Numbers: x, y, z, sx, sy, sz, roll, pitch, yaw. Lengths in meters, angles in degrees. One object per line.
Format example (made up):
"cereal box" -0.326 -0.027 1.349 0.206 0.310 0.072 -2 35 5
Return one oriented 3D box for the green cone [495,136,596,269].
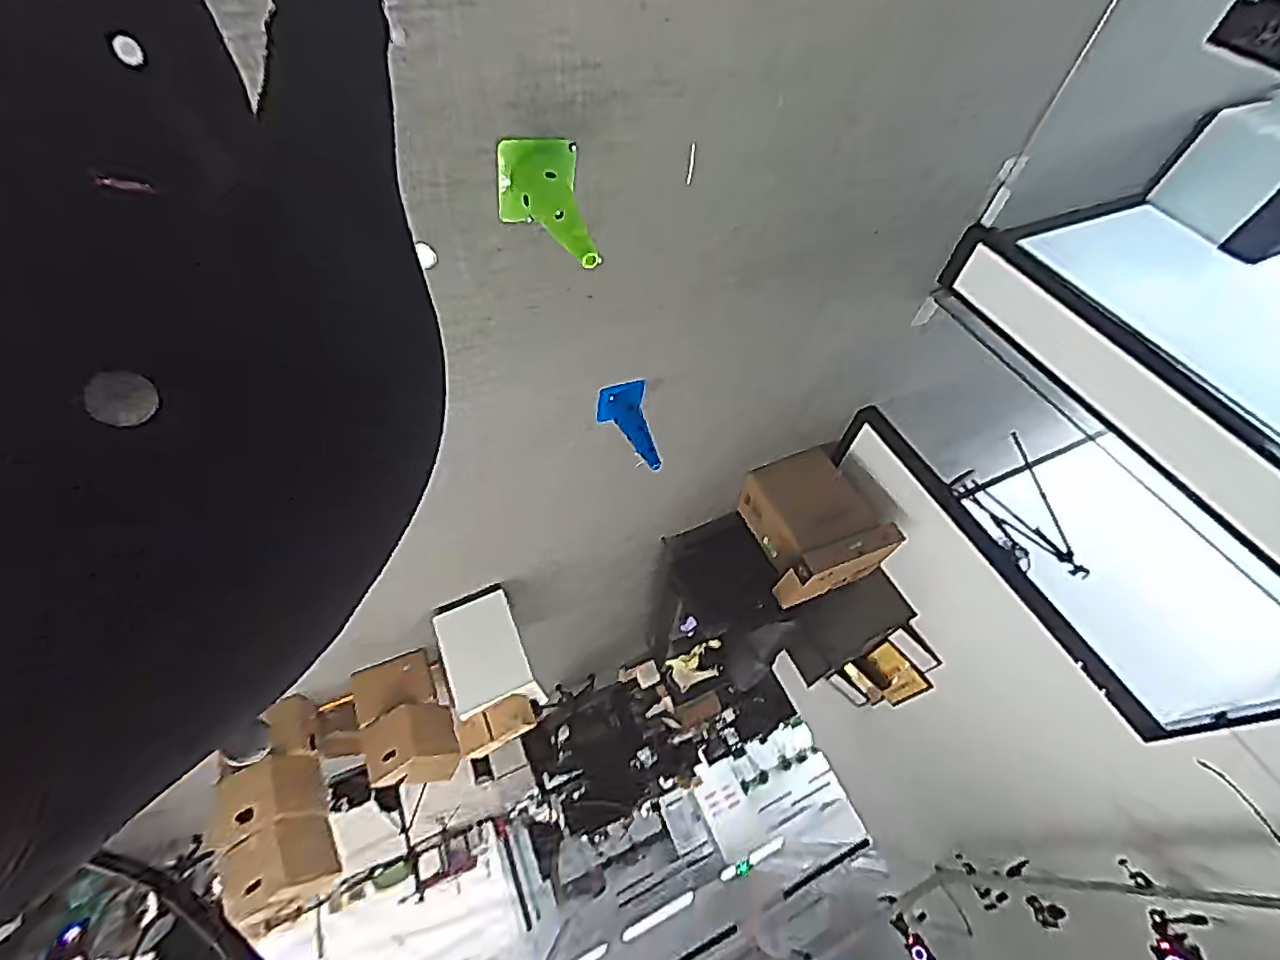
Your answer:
"green cone" -0.194 -0.630 1.288 0.200 0.368 0.202 -16 149 -22
